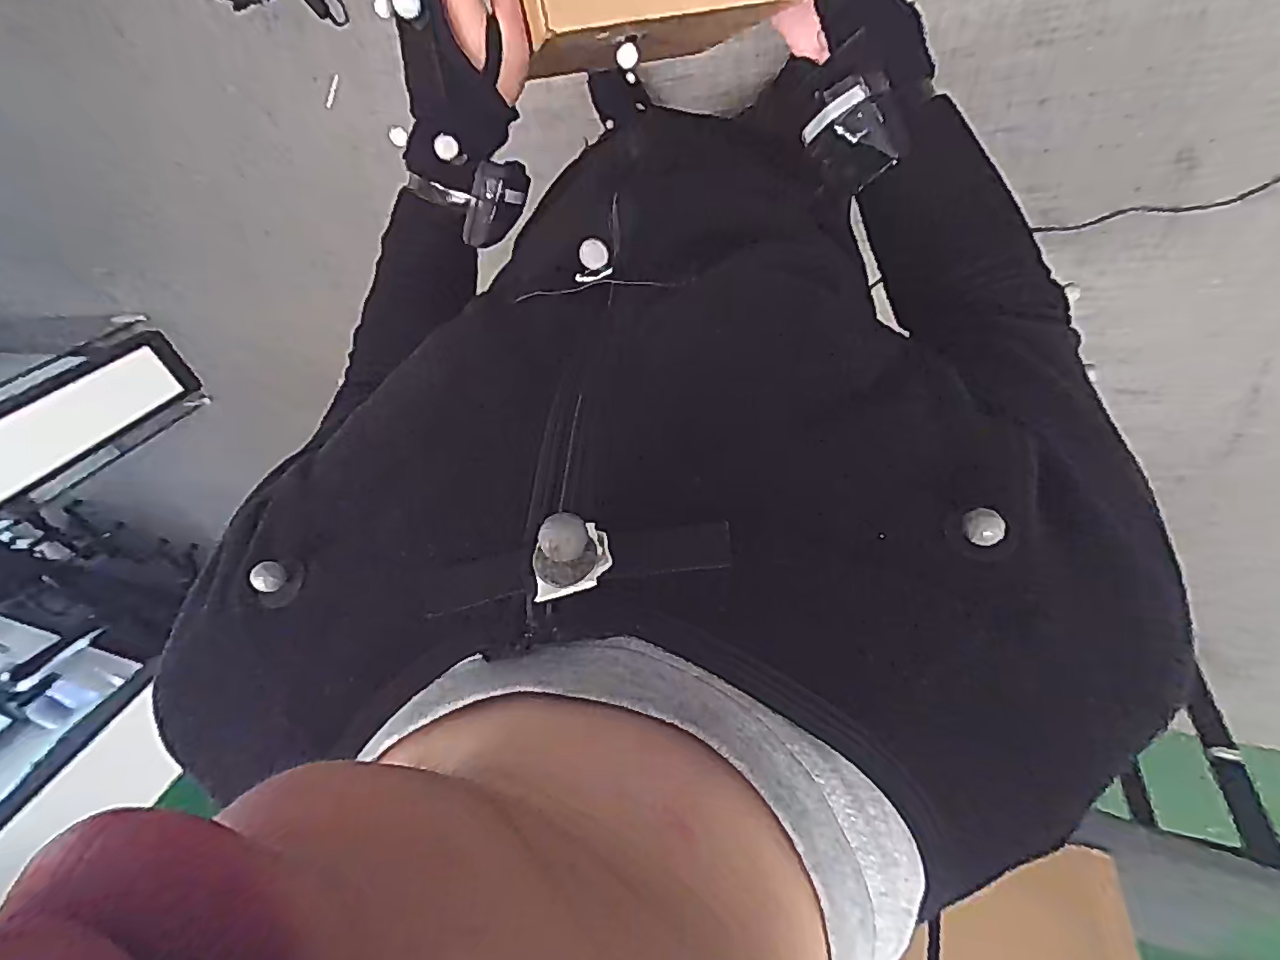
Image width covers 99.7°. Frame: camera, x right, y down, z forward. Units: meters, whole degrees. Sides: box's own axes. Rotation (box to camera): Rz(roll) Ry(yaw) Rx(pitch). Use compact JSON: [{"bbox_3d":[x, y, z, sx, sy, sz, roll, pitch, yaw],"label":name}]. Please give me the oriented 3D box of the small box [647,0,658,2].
[{"bbox_3d":[0.092,-0.883,0.845,0.168,0.176,0.179,4,132,24],"label":"small box"}]
